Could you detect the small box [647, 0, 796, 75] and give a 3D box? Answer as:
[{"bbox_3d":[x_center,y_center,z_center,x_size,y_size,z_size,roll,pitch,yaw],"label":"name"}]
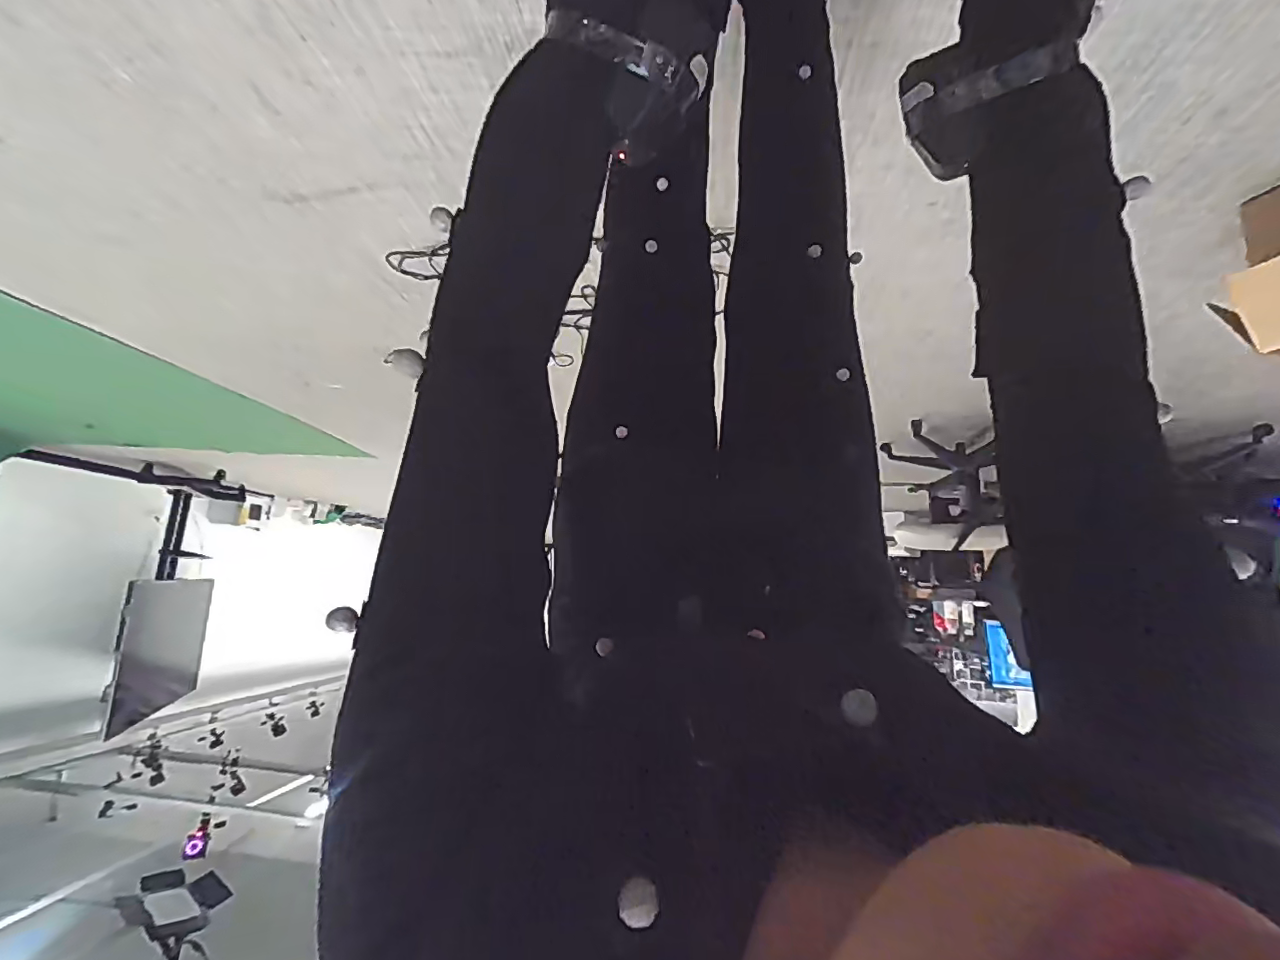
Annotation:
[{"bbox_3d":[0.095,-0.635,0.645,0.168,0.176,0.179,-6,170,-3],"label":"small box"}]
